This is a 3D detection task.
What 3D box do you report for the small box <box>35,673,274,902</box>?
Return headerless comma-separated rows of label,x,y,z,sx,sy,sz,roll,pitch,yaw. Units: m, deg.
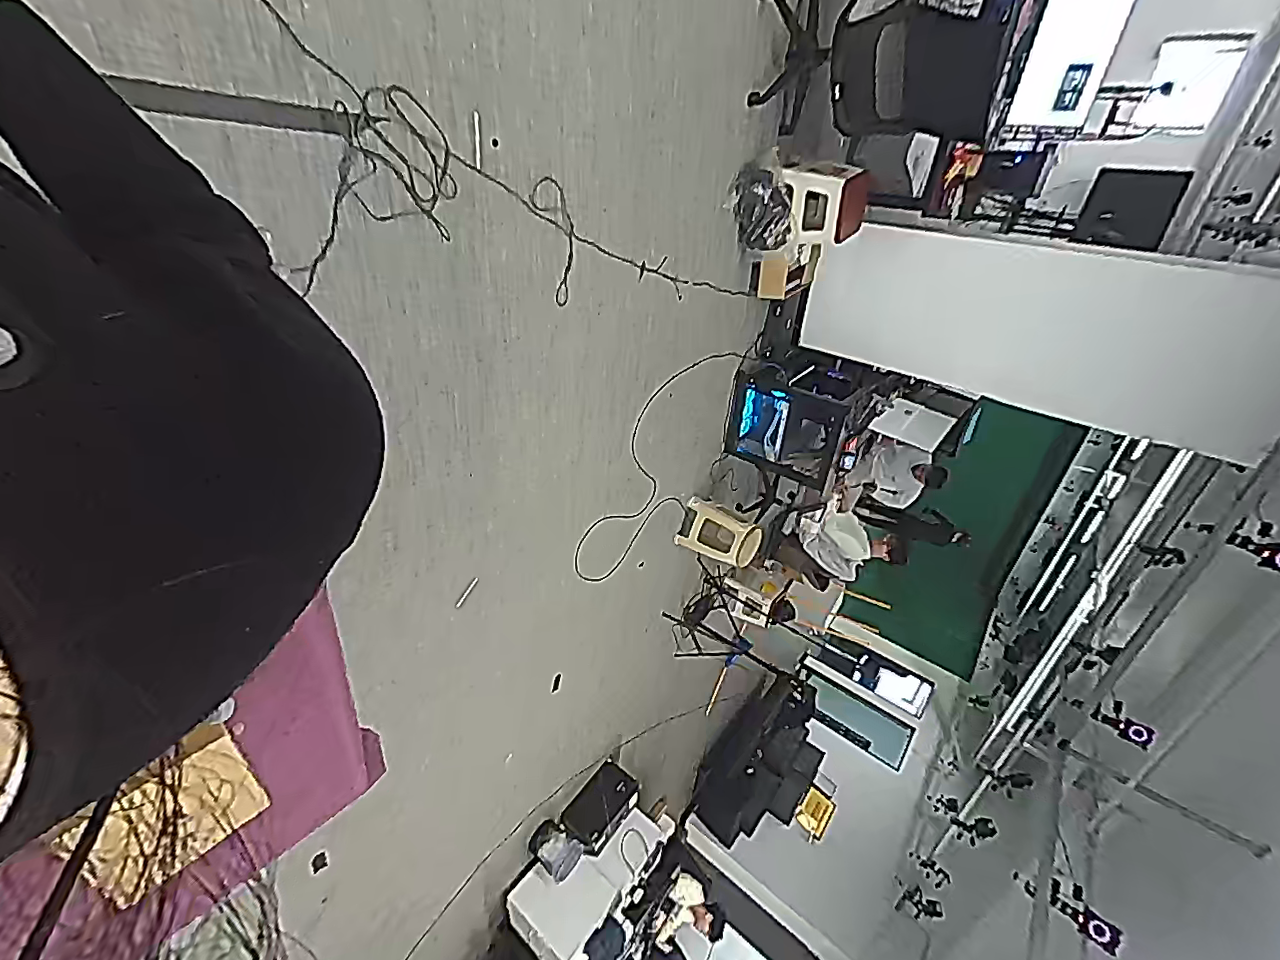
small box,-0.628,0.384,0.709,0.168,0.176,0.179,-32,138,-42
